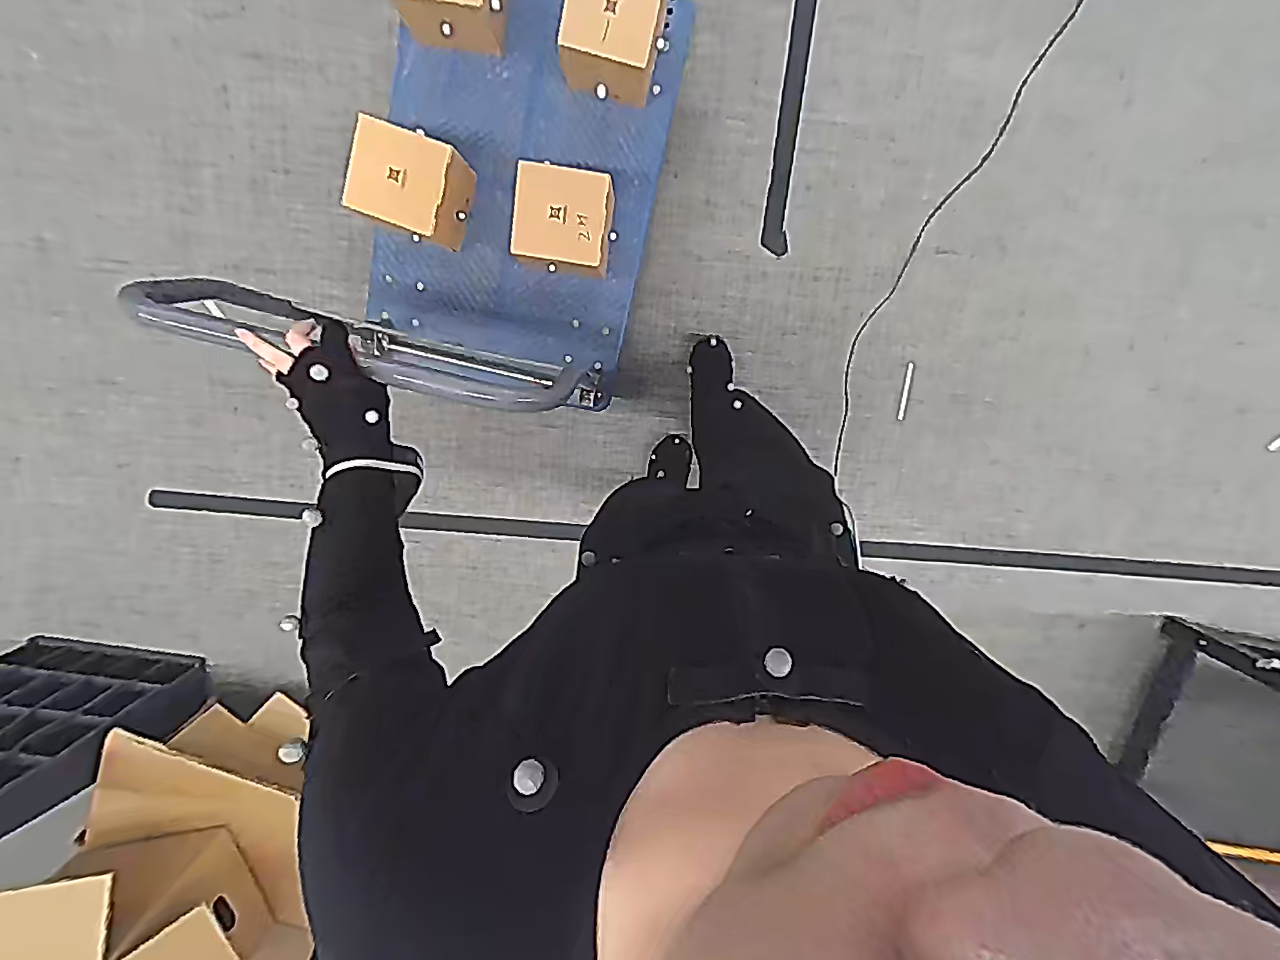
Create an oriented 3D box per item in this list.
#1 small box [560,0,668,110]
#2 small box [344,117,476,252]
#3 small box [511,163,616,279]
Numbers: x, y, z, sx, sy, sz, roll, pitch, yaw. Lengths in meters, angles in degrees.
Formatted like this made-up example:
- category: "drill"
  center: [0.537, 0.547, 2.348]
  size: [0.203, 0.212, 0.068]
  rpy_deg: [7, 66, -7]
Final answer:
- category: "small box"
  center: [-0.045, -0.849, 1.023]
  size: [0.168, 0.176, 0.179]
  rpy_deg: [14, 103, -3]
- category: "small box"
  center: [-0.451, -0.576, 1.082]
  size: [0.179, 0.176, 0.168]
  rpy_deg: [17, 101, -6]
- category: "small box"
  center: [-0.149, -0.513, 1.097]
  size: [0.179, 0.176, 0.168]
  rpy_deg: [8, 103, -2]
